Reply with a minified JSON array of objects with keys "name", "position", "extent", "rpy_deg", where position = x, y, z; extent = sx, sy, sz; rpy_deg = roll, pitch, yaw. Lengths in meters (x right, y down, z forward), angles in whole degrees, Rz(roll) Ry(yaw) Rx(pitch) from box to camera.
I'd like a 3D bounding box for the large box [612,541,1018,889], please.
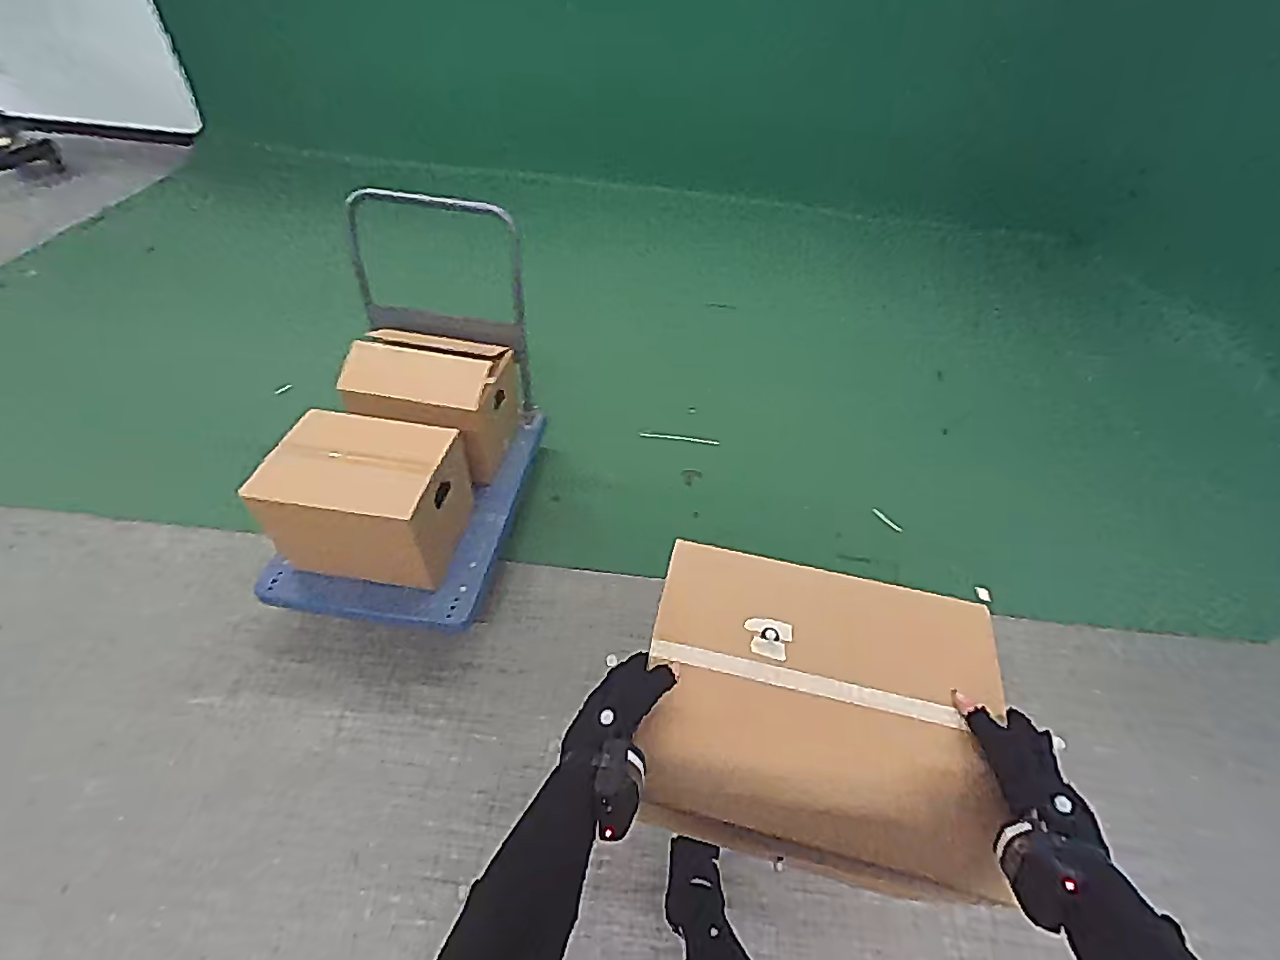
[{"name":"large box","position":[0.199,0.320,0.738],"extent":[0.408,0.320,0.320],"rpy_deg":[10,54,8]}]
